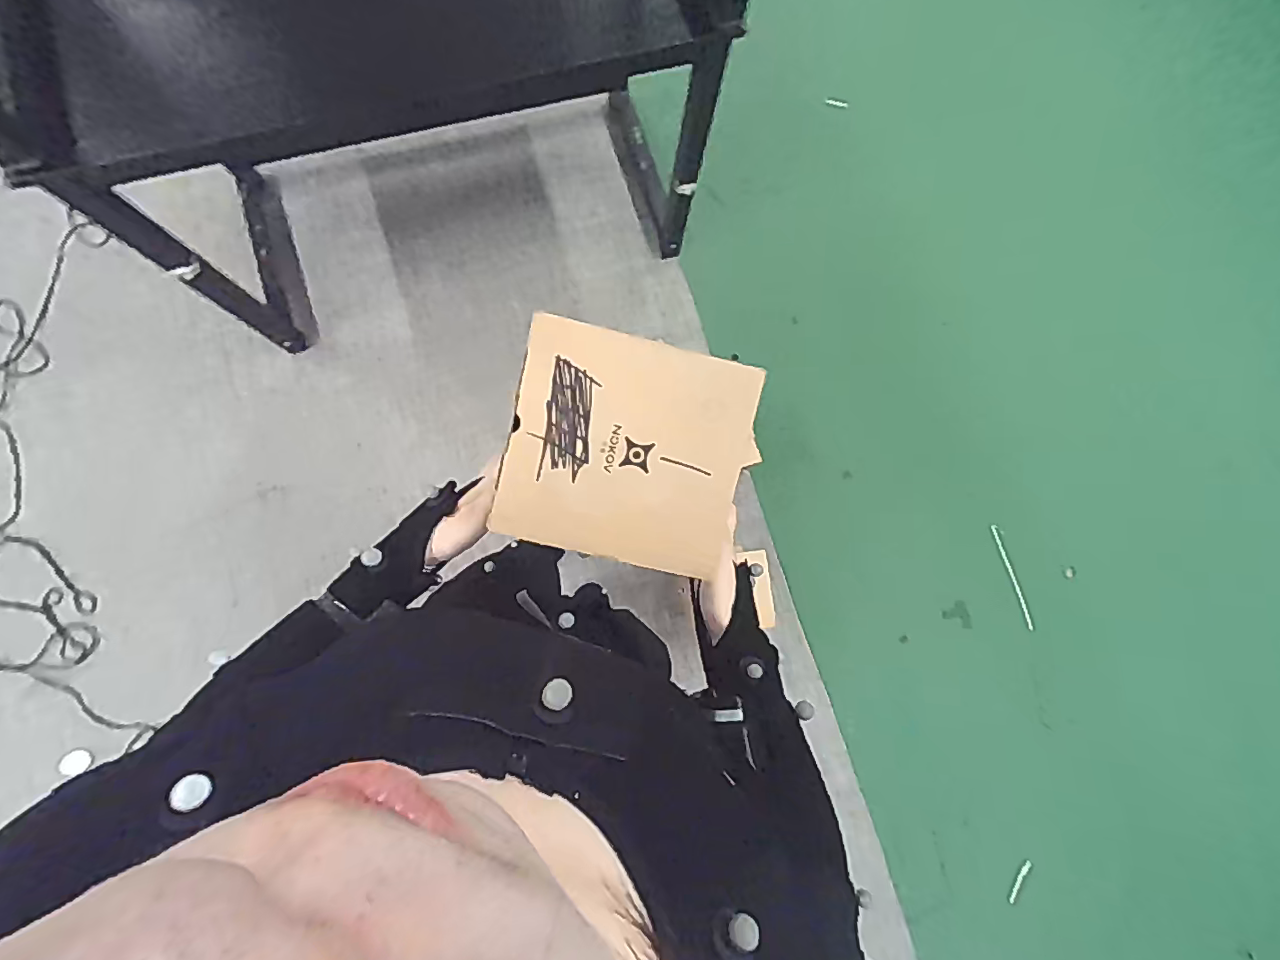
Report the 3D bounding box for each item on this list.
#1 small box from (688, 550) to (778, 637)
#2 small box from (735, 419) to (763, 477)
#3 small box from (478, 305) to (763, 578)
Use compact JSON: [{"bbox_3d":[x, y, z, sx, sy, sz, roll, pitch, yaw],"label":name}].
[{"bbox_3d":[0.209,0.261,1.268,0.168,0.176,0.179,-6,82,-4],"label":"small box"},{"bbox_3d":[0.174,-0.082,1.320,0.179,0.176,0.168,-17,82,-8],"label":"small box"},{"bbox_3d":[-0.019,-0.032,0.465,0.179,0.176,0.168,13,95,-5],"label":"small box"}]
